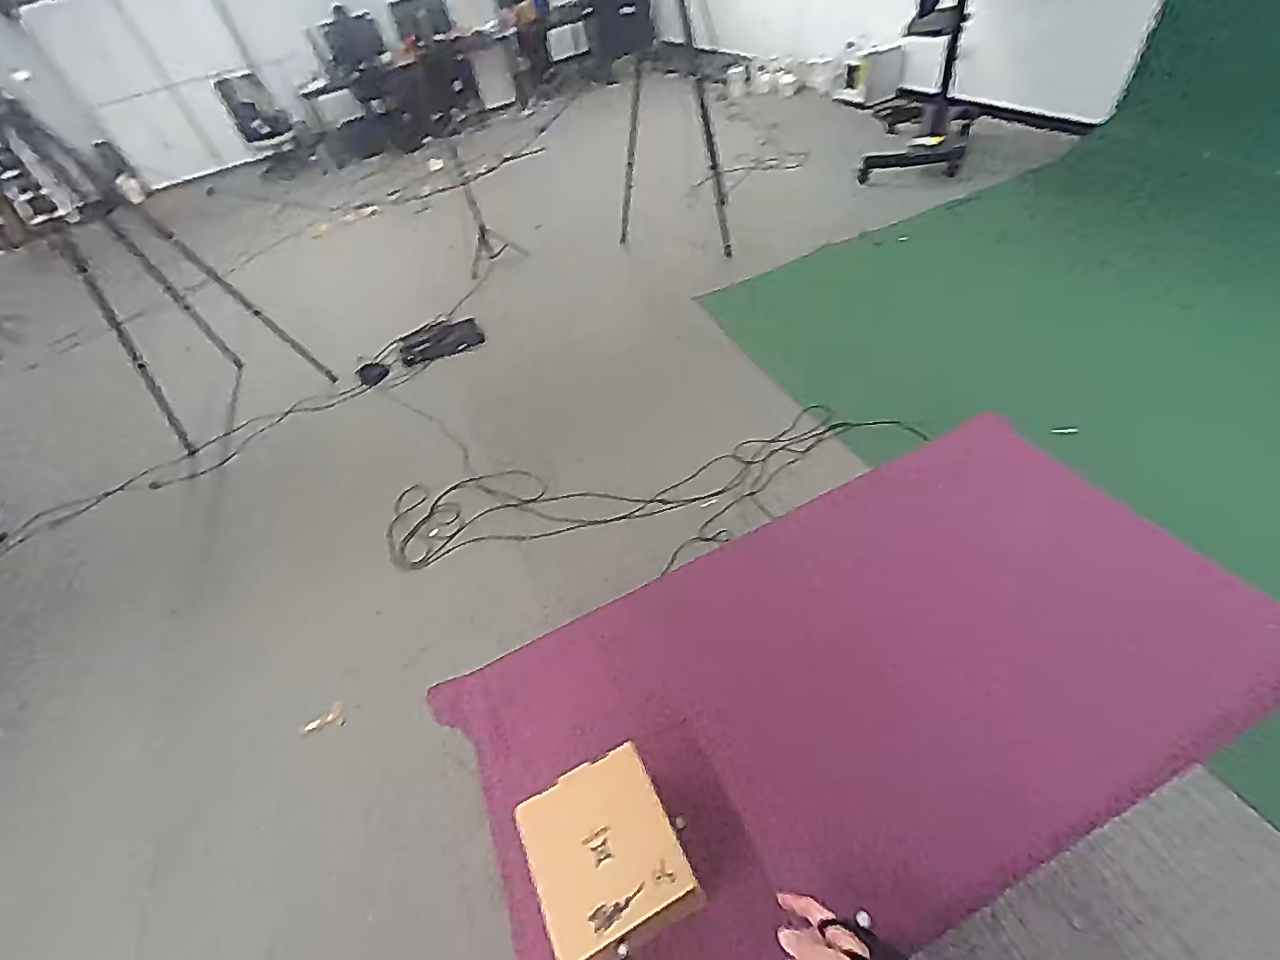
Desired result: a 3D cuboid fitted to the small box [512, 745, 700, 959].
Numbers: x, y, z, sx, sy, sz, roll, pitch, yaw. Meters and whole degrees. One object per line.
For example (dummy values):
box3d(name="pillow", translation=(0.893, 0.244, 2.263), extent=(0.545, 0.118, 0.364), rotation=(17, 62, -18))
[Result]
box3d(name="small box", translation=(-0.039, 0.481, 0.682), extent=(0.168, 0.176, 0.179), rotation=(-26, 47, -11))
